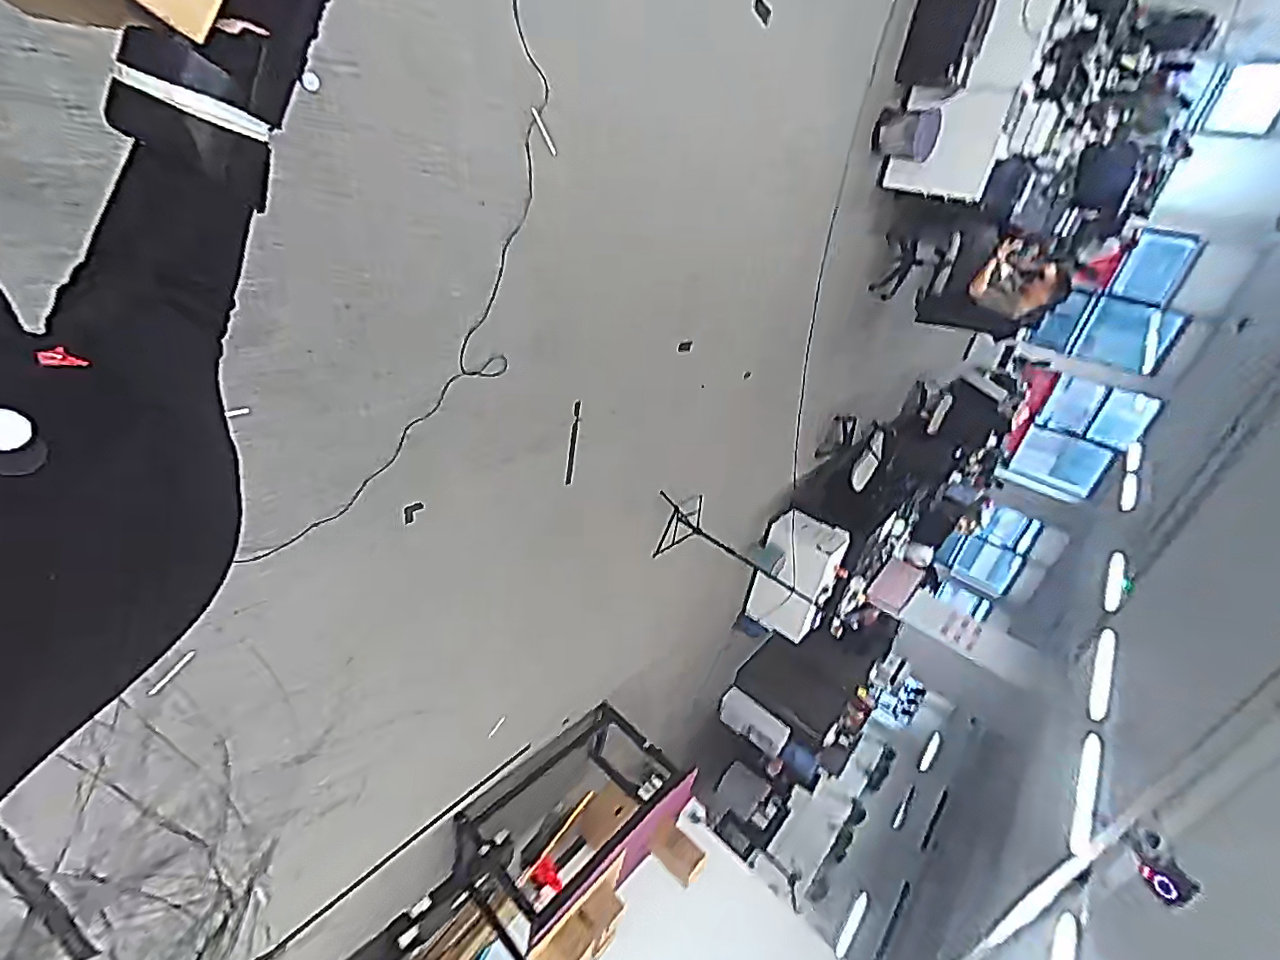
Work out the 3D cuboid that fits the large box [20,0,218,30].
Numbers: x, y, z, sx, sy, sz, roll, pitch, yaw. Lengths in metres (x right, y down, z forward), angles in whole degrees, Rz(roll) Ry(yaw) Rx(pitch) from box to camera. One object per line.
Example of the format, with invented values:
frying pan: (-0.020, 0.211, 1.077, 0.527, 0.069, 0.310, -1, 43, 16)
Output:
large box: (-0.409, -0.491, 0.202, 0.320, 0.320, 0.408, -64, 156, 5)
